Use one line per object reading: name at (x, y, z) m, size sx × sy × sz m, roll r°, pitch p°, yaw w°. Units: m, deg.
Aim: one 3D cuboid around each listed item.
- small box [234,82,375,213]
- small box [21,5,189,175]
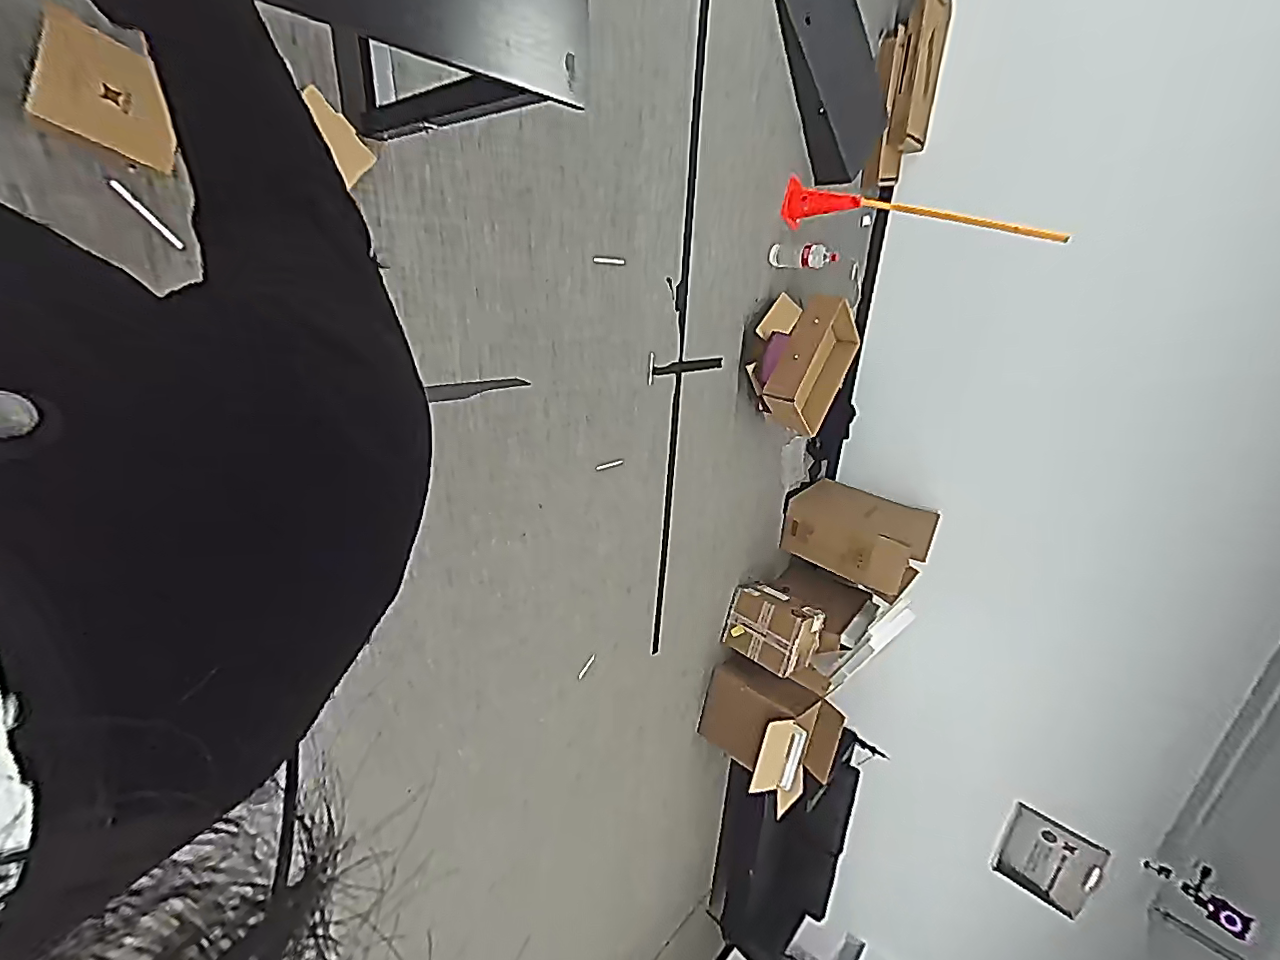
small box at (-0.718, -0.700, 1.152) m, size 0.179 × 0.176 × 0.168 m, roll -58°, pitch 141°, yaw -13°
small box at (-0.923, -0.653, 0.933) m, size 0.179 × 0.176 × 0.168 m, roll 11°, pitch 97°, yaw -51°
